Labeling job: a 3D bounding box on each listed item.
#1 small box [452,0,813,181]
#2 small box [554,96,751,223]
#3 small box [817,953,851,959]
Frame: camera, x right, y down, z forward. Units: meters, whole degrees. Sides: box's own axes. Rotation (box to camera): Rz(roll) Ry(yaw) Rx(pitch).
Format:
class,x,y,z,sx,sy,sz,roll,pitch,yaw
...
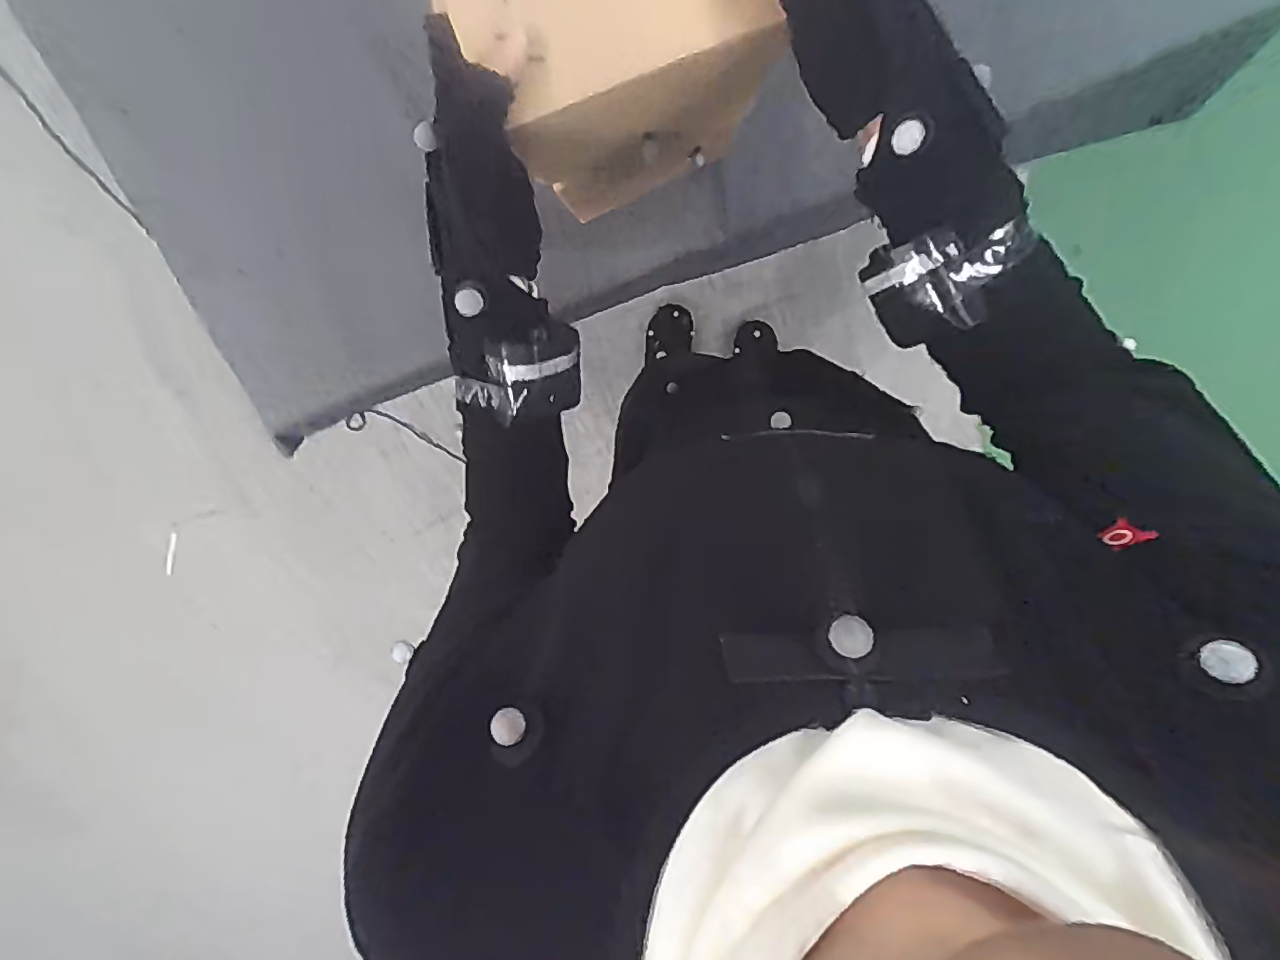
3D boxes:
class,x,y,z,sx,sy,sz,roll,pitch,yaw
small box,-0.019,-0.309,0.330,0.179,0.176,0.168,-17,108,5
small box,-0.016,-0.367,0.505,0.179,0.176,0.168,-22,104,9
small box,0.711,1.861,1.945,0.179,0.176,0.168,-21,106,6
